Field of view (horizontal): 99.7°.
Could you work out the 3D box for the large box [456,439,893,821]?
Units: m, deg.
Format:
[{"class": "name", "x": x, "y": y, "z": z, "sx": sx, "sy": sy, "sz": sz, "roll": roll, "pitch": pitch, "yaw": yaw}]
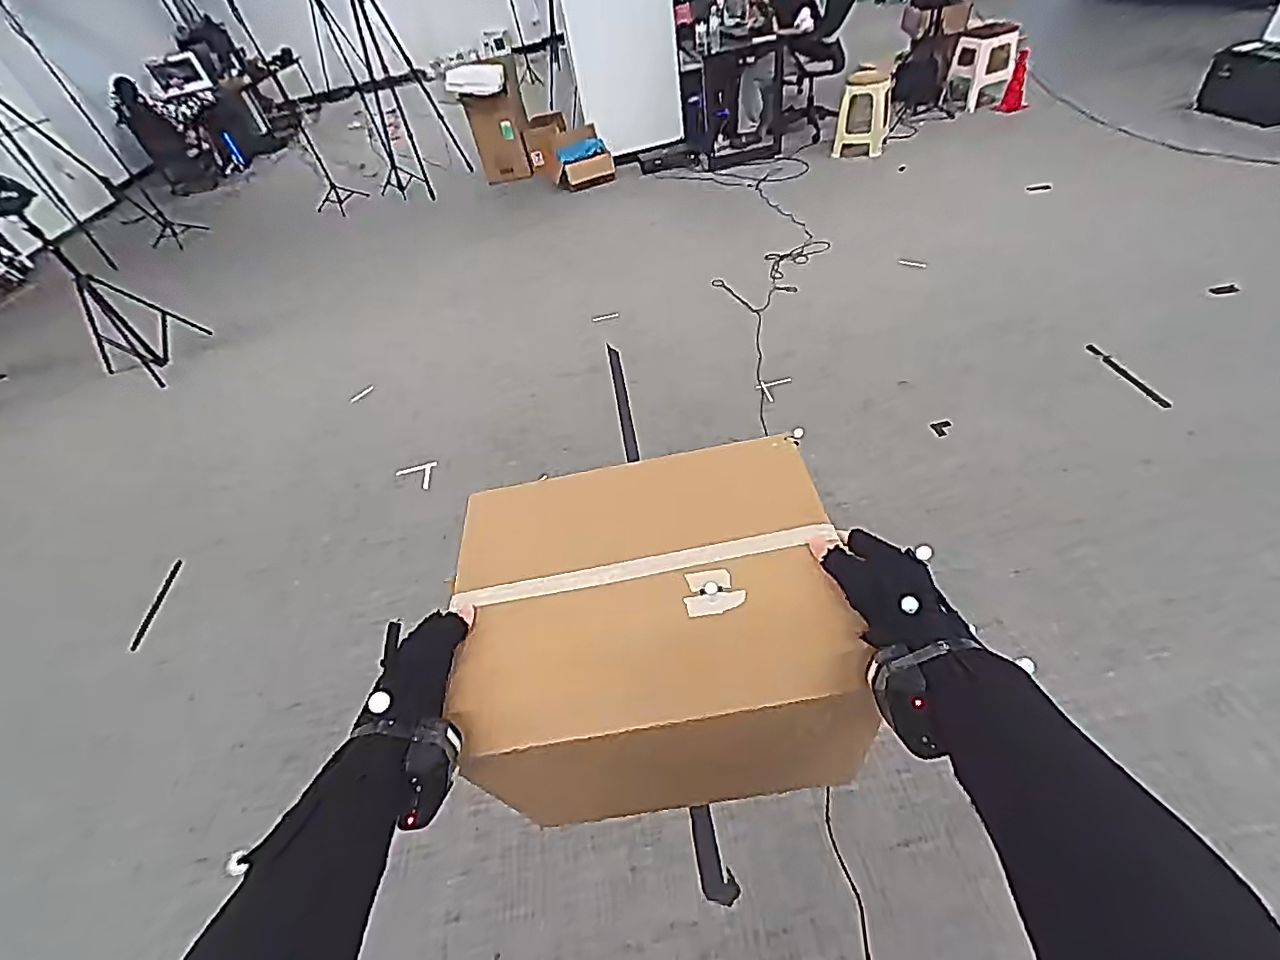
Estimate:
[{"class": "large box", "x": 0.033, "y": 0.195, "z": 0.684, "sx": 0.408, "sy": 0.320, "sz": 0.320, "roll": -11, "pitch": 48, "yaw": 2}]
